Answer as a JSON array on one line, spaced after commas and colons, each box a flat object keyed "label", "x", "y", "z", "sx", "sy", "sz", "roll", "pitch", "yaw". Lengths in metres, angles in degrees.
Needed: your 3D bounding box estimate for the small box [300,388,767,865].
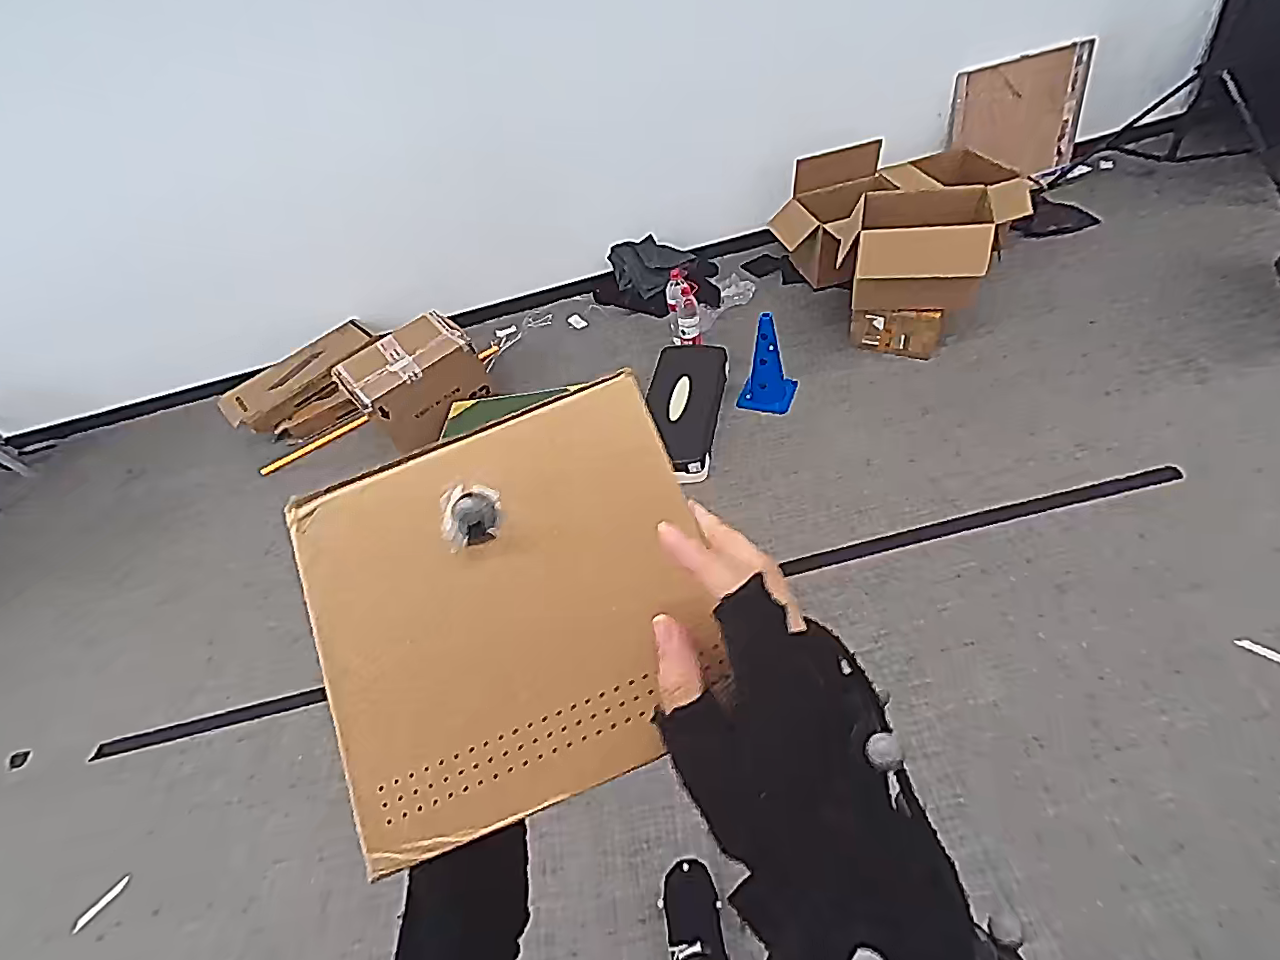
[{"label": "small box", "x": -0.049, "y": 0.080, "z": 0.317, "sx": 0.179, "sy": 0.168, "sz": 0.176, "roll": -22, "pitch": 76, "yaw": -1}]
